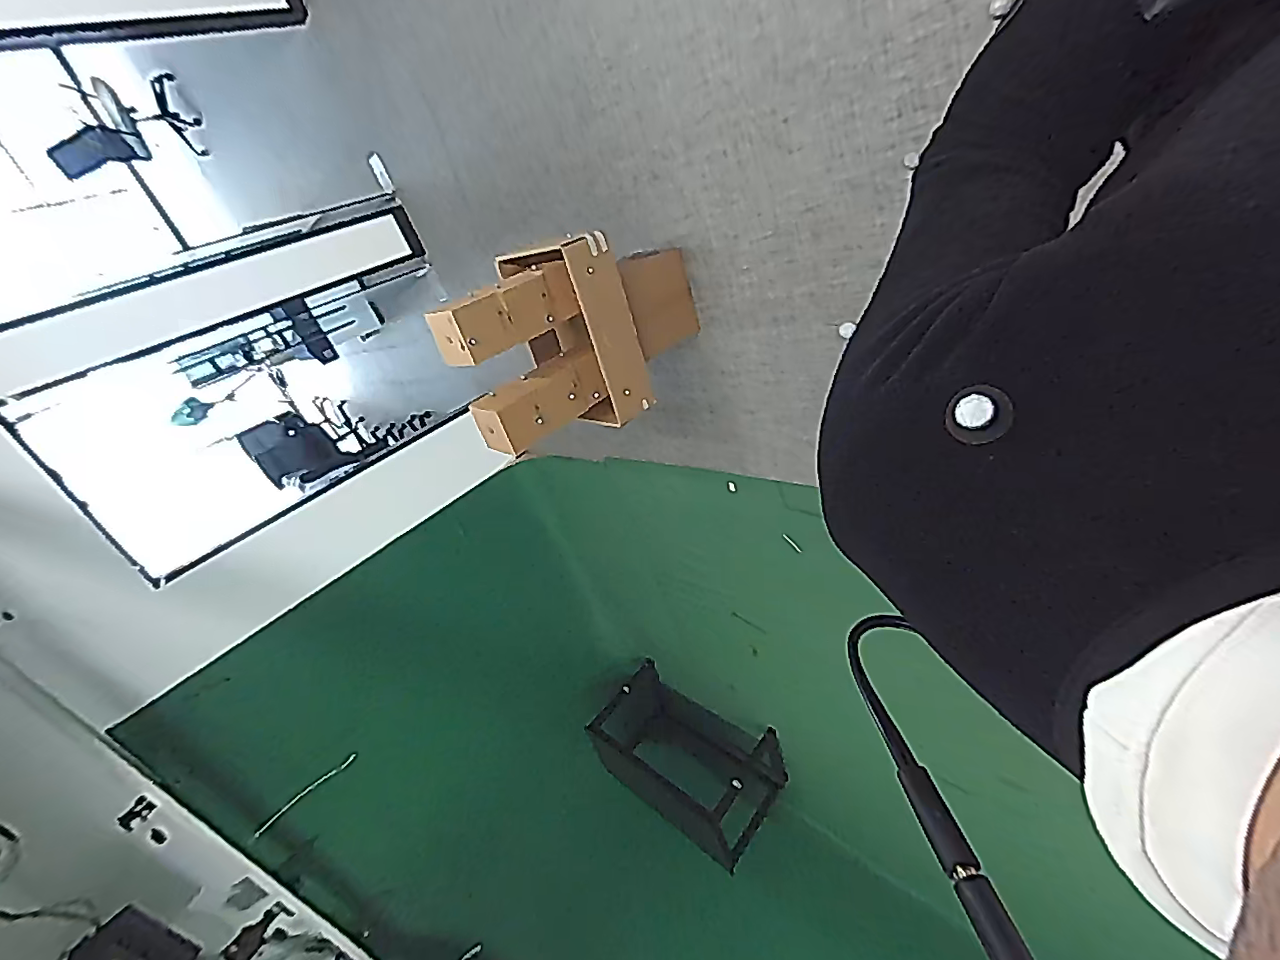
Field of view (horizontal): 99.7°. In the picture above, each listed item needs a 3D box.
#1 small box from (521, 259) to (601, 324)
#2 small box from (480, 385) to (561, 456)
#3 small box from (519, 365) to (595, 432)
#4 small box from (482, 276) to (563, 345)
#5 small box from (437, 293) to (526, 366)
[{"bbox_3d":[-0.262,-0.633,1.822,0.179,0.176,0.168,14,132,44],"label":"small box"},{"bbox_3d":[-0.393,-0.204,1.793,0.179,0.176,0.168,16,135,43],"label":"small box"},{"bbox_3d":[-0.285,-0.290,1.880,0.179,0.176,0.168,17,135,43],"label":"small box"},{"bbox_3d":[-0.367,-0.543,1.731,0.179,0.176,0.168,16,133,43],"label":"small box"},{"bbox_3d":[-0.479,-0.458,1.648,0.179,0.176,0.168,13,131,45],"label":"small box"}]
